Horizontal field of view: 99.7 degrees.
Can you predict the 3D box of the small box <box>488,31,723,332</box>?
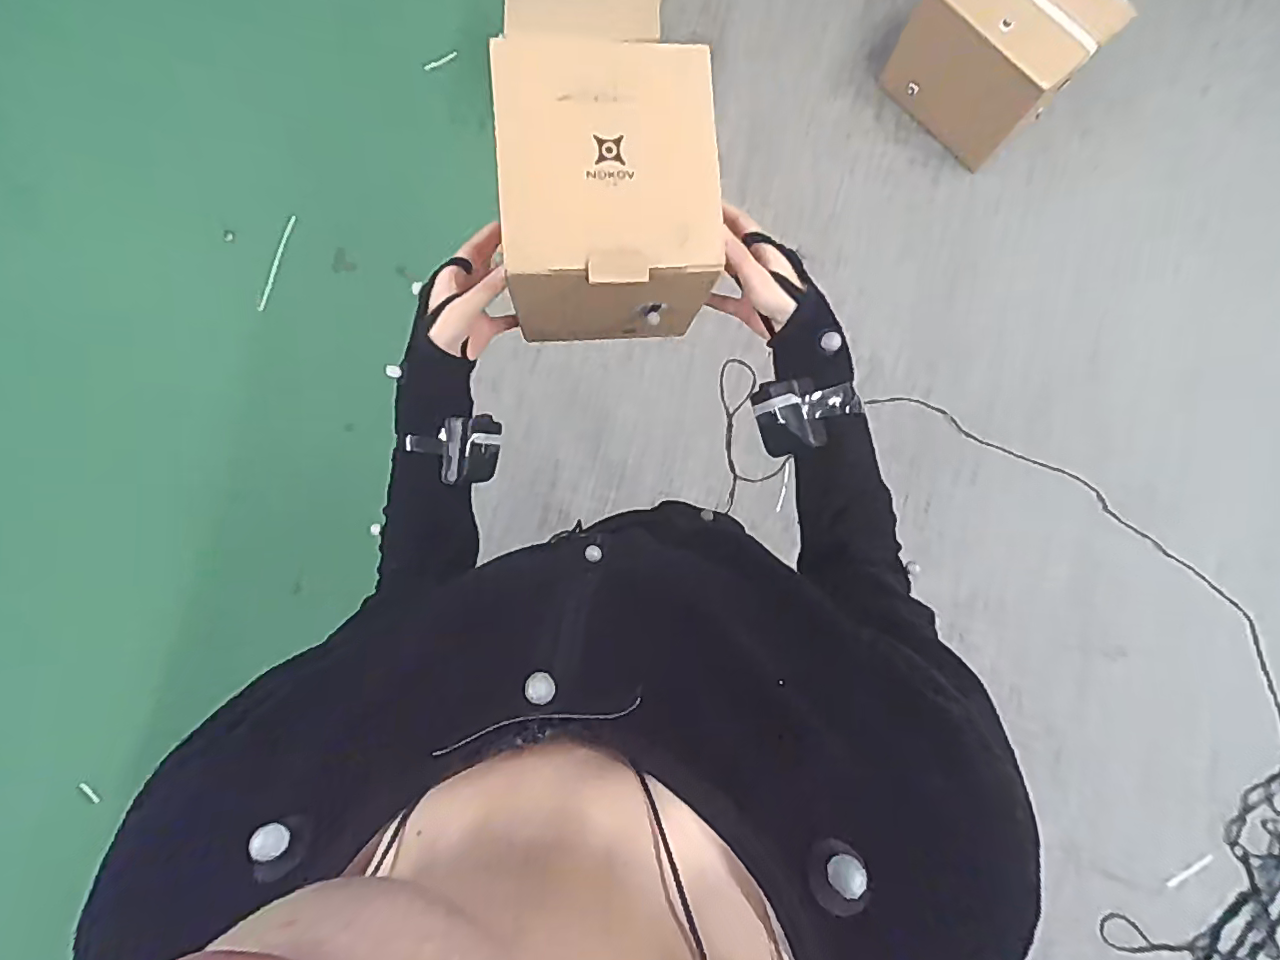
[{"bbox_3d":[-0.032,-0.235,0.471,0.168,0.176,0.179,-4,87,-7],"label":"small box"}]
